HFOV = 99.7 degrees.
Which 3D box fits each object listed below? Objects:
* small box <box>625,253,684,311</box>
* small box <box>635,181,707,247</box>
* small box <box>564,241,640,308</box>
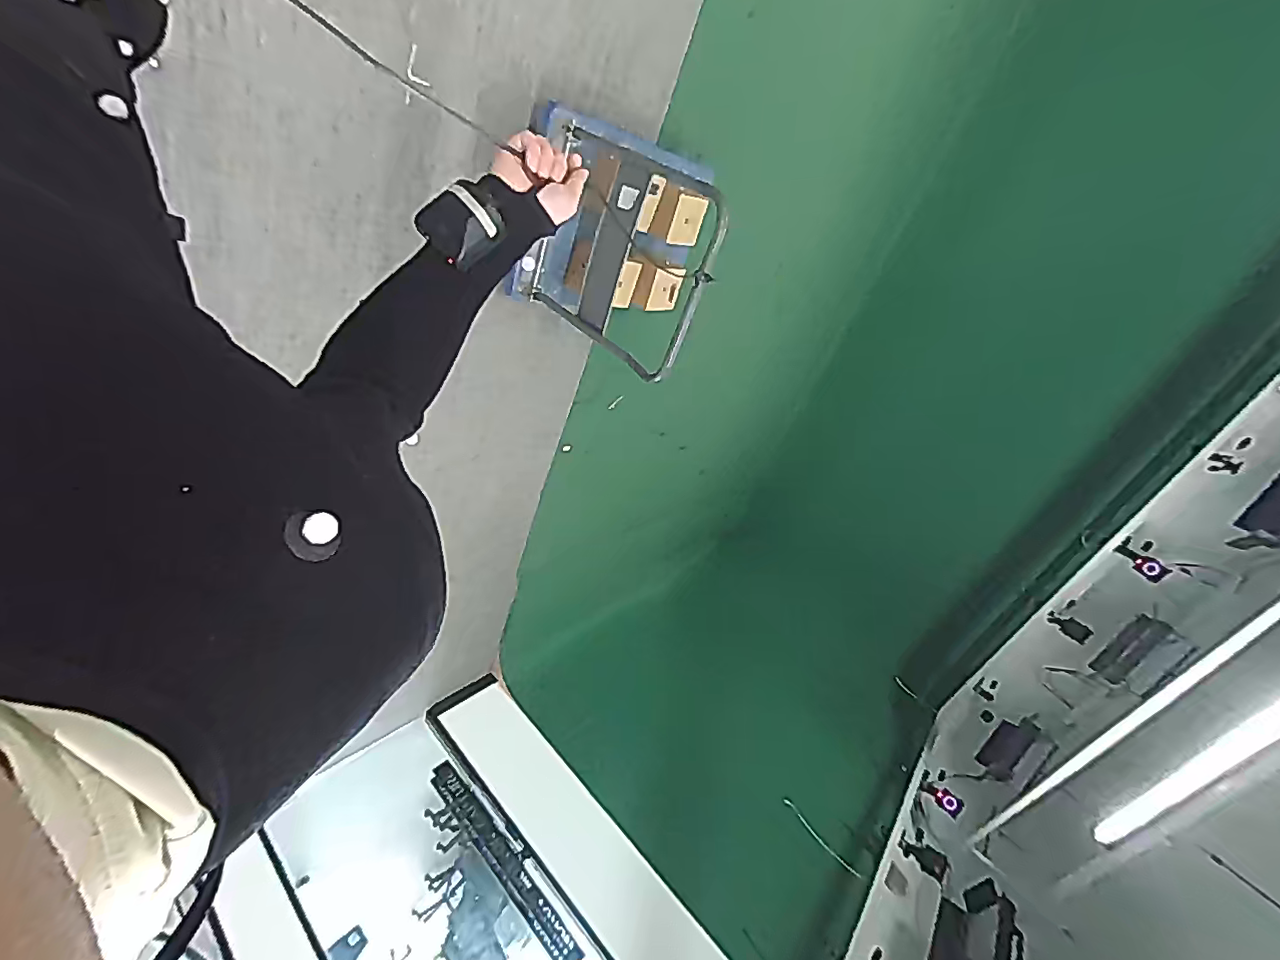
[{"bbox_3d":[0.035,-0.775,2.114,0.179,0.176,0.168,-19,139,-45],"label":"small box"},{"bbox_3d":[0.108,-0.975,1.979,0.179,0.176,0.168,-20,141,-46],"label":"small box"},{"bbox_3d":[-0.136,-0.724,1.911,0.179,0.176,0.168,-15,136,-49],"label":"small box"}]
